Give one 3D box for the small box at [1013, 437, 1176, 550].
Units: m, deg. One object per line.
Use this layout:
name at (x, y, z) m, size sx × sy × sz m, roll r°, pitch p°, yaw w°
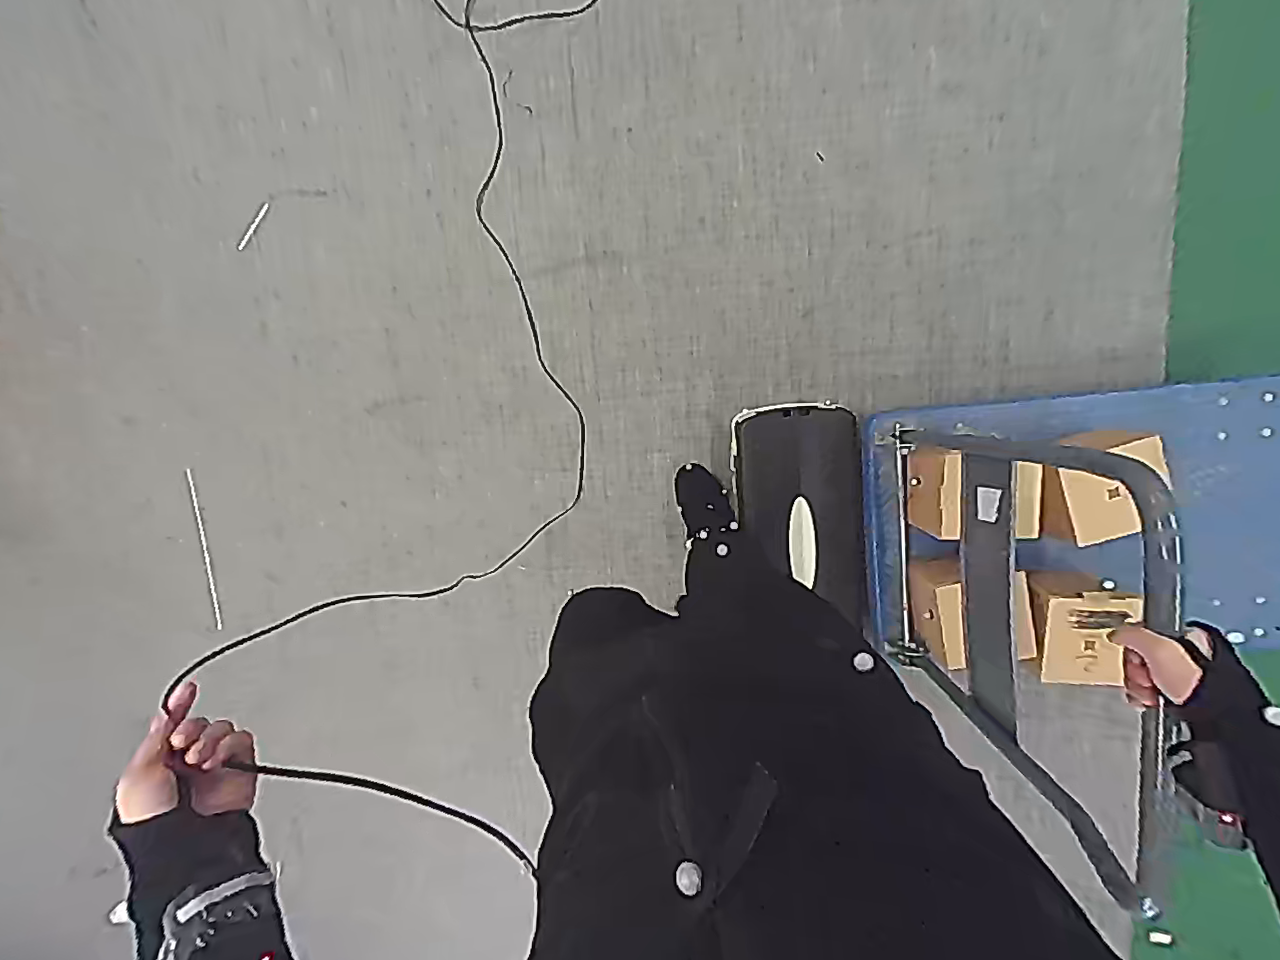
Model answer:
small box at (0.865, 0.020, 1.053) m, size 0.179 × 0.176 × 0.168 m, roll -17°, pitch 96°, yaw 8°
